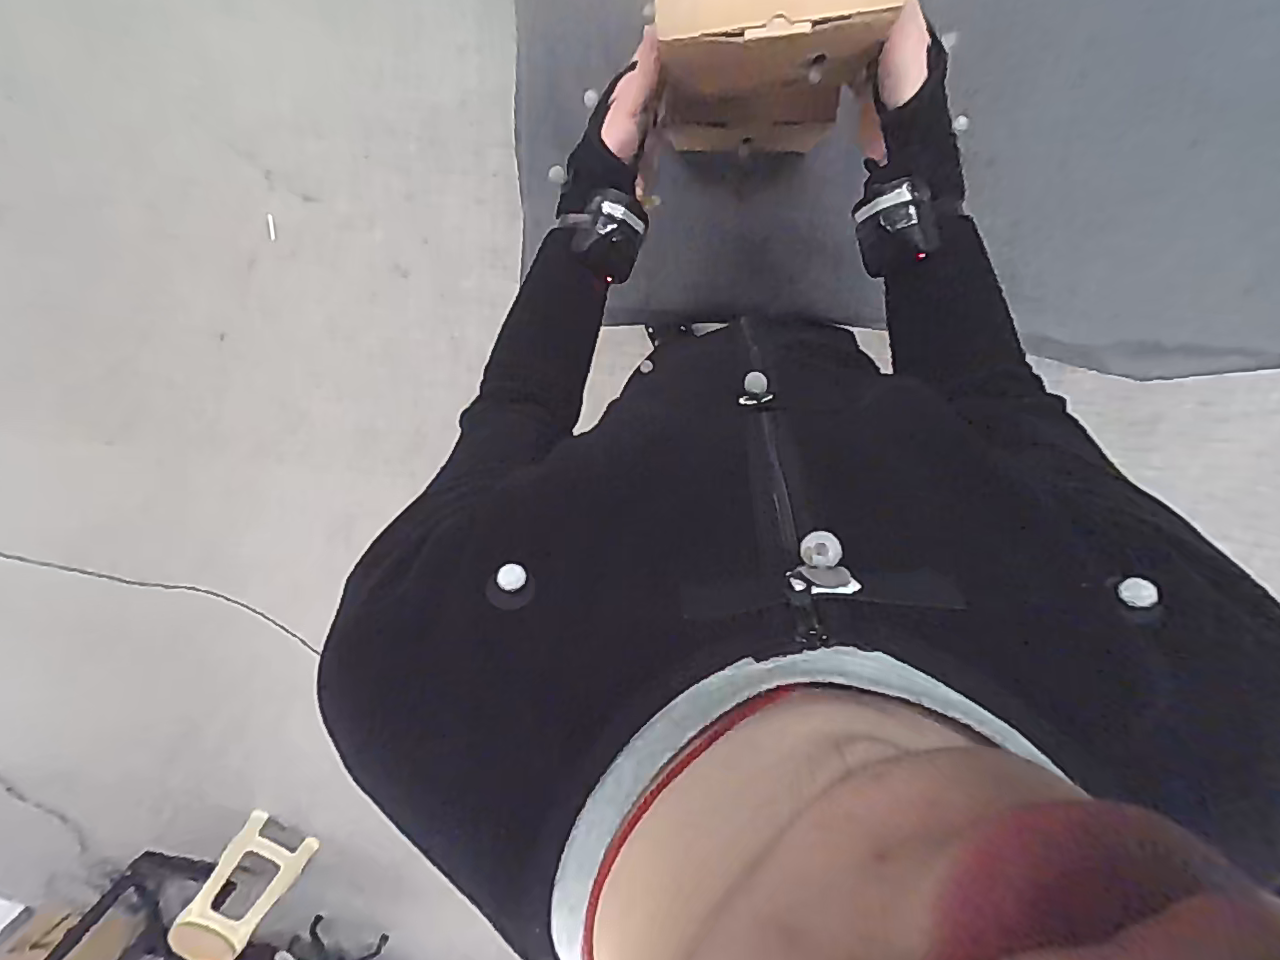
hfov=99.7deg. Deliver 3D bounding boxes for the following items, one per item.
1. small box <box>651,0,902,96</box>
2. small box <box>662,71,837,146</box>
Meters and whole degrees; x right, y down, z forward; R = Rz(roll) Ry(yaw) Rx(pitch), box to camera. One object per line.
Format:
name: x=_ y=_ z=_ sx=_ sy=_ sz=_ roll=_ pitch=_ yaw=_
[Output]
small box: x=0.094 y=-0.409 z=0.400 sx=0.168 sy=0.176 sz=0.179 roll=-2 pitch=111 yaw=8
small box: x=0.114 y=-0.455 z=0.558 sx=0.168 sy=0.176 sz=0.179 roll=3 pitch=115 yaw=6
